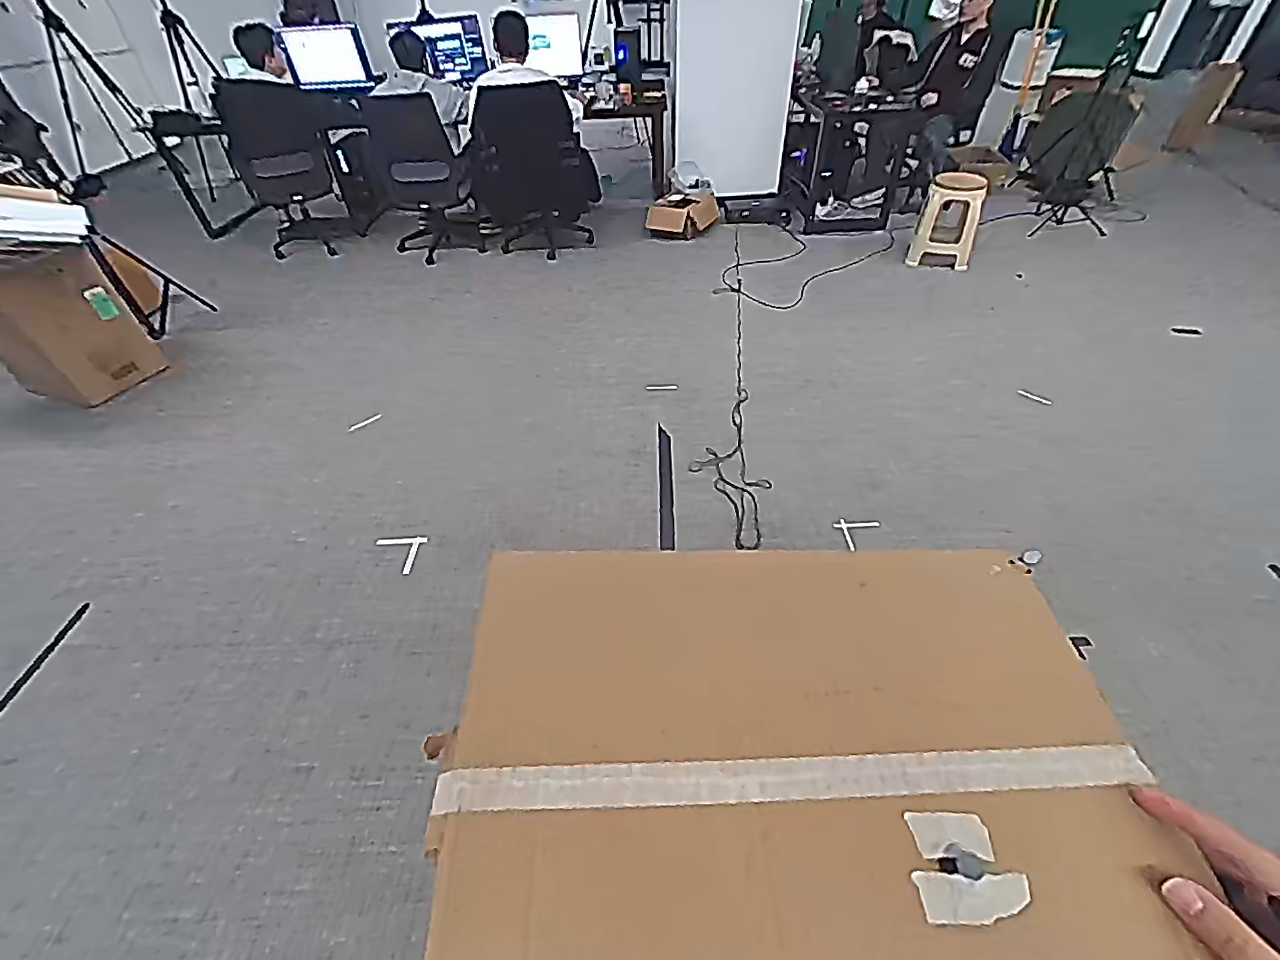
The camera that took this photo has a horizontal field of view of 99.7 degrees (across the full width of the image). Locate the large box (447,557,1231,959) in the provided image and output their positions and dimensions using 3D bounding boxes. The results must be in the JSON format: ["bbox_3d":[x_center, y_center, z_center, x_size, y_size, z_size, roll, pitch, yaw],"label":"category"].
[{"bbox_3d":[0.089,0.276,0.433,0.408,0.320,0.320,0,49,-5],"label":"large box"}]
